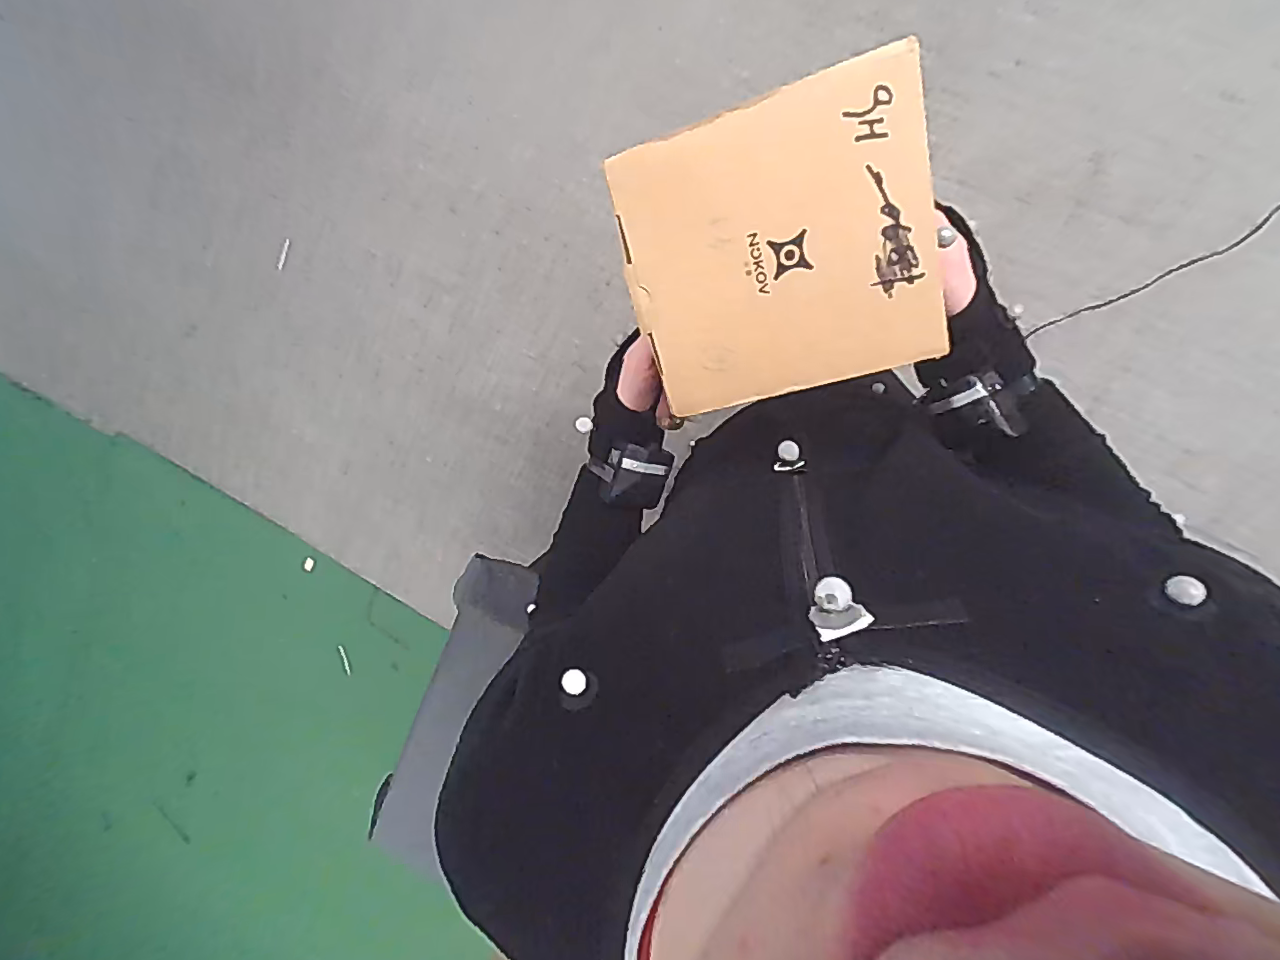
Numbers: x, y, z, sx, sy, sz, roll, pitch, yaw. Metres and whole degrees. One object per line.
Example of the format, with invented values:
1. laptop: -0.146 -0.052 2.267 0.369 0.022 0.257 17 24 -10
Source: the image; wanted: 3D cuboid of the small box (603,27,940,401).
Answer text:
1. small box: 0.097 -0.172 0.394 0.179 0.176 0.168 -10 111 18
